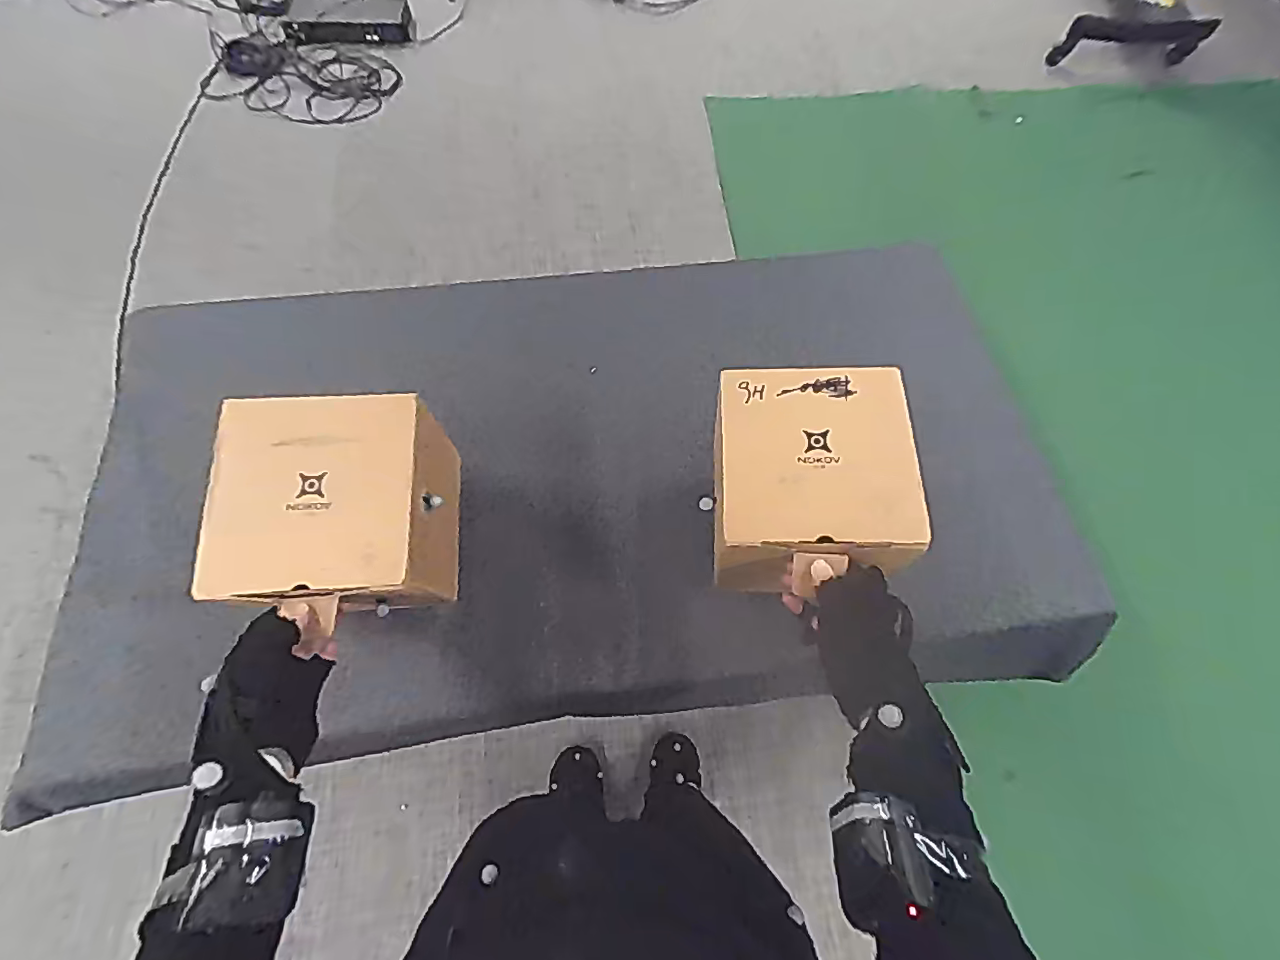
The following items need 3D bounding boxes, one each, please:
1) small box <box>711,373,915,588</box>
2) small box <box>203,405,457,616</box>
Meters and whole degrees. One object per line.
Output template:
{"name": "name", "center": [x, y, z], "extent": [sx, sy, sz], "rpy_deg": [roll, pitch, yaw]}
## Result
{"name": "small box", "center": [0.159, 0.011, 0.556], "extent": [0.168, 0.176, 0.179], "rpy_deg": [0, 67, 6]}
{"name": "small box", "center": [-0.288, 0.041, 0.546], "extent": [0.168, 0.176, 0.179], "rpy_deg": [-4, 72, -6]}
